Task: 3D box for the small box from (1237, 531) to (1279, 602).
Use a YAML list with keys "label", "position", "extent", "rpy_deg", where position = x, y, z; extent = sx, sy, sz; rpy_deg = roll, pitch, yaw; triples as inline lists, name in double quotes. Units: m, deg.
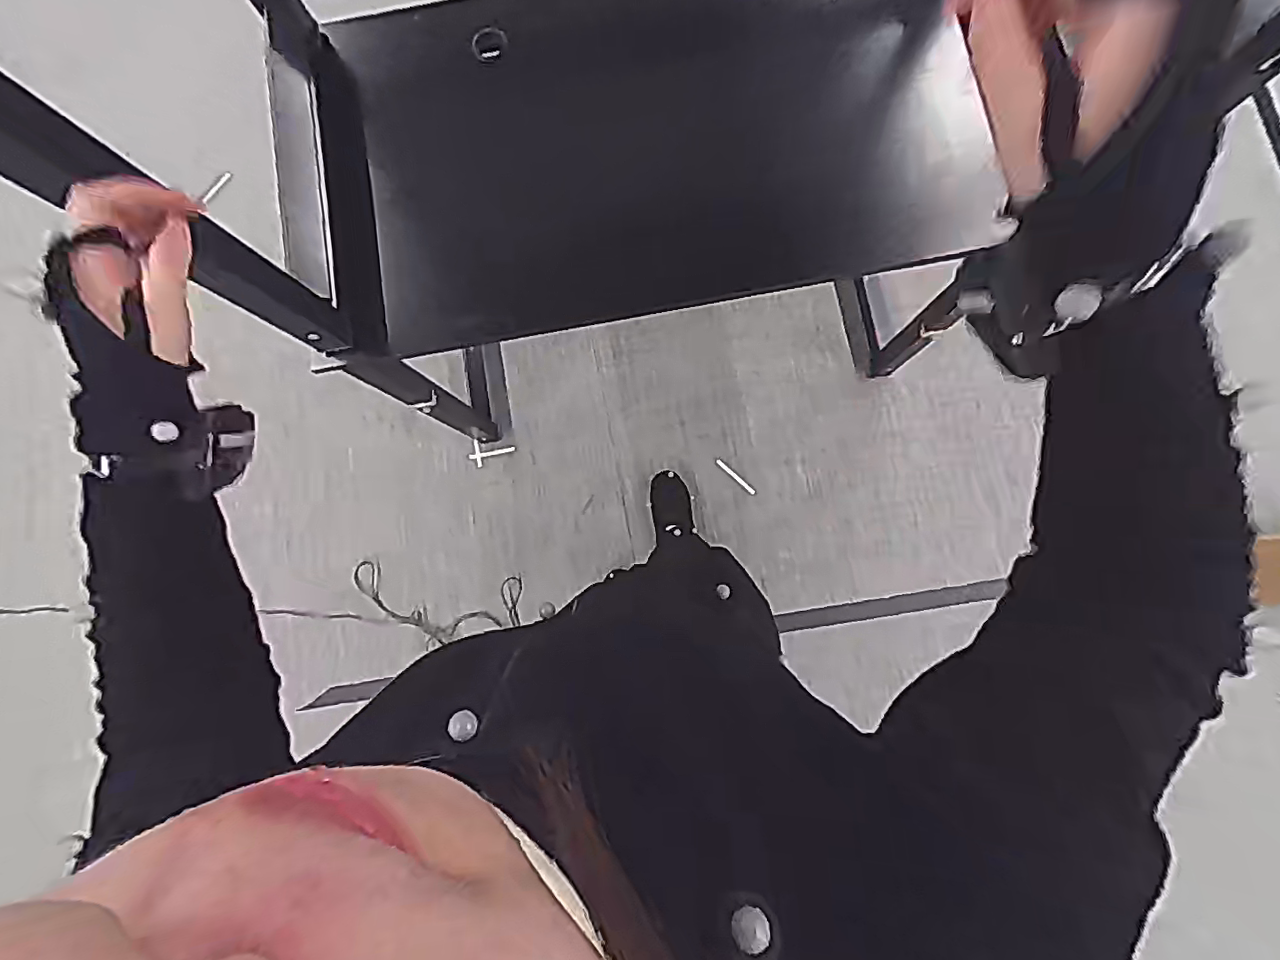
- label: "small box"
  position: [1.634, 0.209, 1.323]
  extent: [0.179, 0.176, 0.168]
  rpy_deg: [-8, 83, 2]
